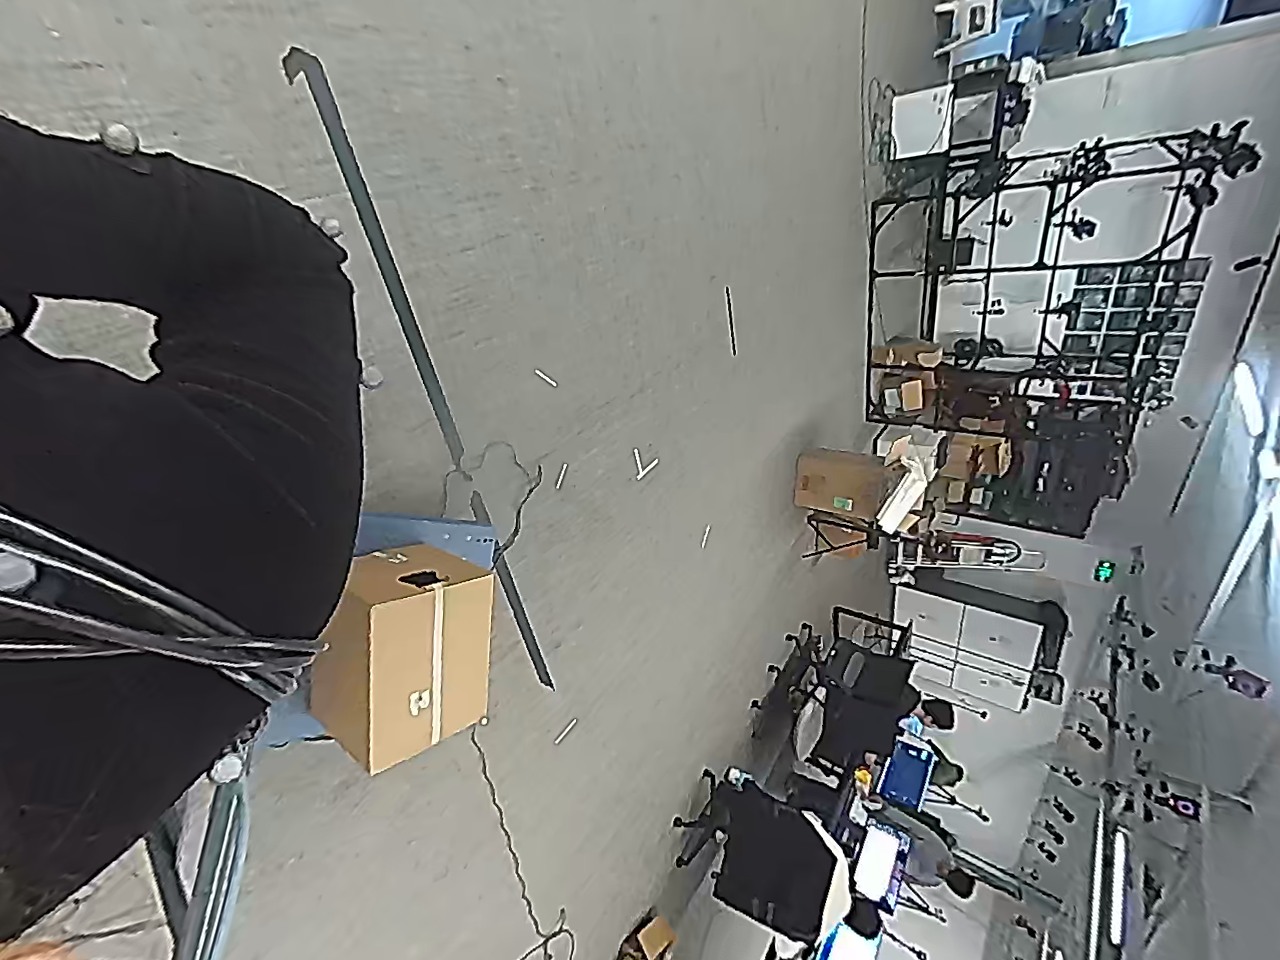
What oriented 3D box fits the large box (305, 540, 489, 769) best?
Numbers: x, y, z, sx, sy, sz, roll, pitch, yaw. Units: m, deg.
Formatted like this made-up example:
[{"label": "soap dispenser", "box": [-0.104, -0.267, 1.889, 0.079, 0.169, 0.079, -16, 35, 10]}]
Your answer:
[{"label": "large box", "box": [-0.606, 0.402, 1.353, 0.320, 0.320, 0.408, -7, 107, -52]}]
